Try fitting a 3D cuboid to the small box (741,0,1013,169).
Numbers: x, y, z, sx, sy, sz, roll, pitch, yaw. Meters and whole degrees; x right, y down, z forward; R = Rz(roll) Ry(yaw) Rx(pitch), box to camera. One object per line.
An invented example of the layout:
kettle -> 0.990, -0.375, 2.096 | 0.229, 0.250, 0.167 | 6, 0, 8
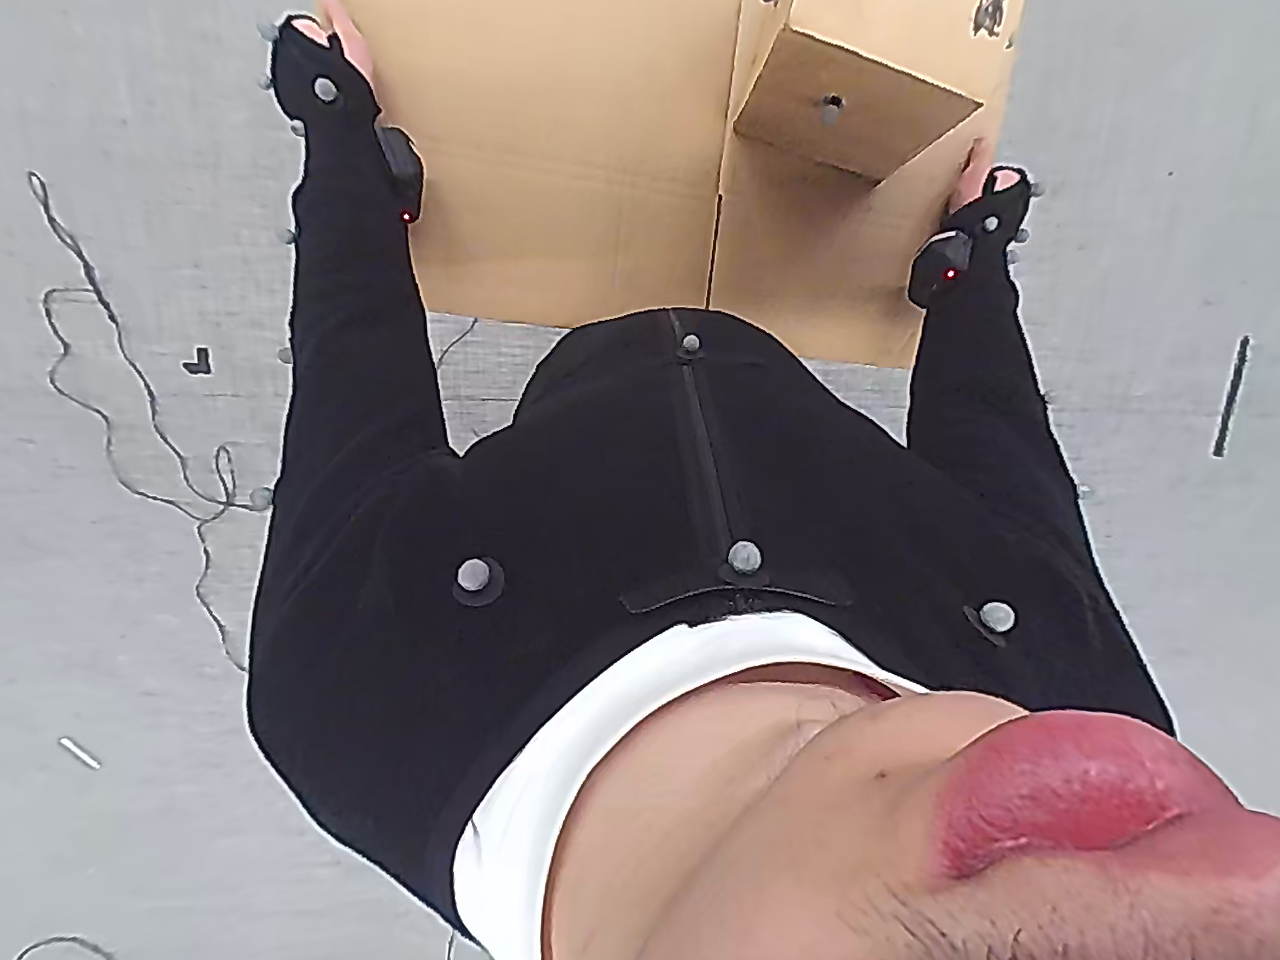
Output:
small box -> 0.208, -0.418, 0.494 | 0.179, 0.176, 0.168 | 16, 99, -5
